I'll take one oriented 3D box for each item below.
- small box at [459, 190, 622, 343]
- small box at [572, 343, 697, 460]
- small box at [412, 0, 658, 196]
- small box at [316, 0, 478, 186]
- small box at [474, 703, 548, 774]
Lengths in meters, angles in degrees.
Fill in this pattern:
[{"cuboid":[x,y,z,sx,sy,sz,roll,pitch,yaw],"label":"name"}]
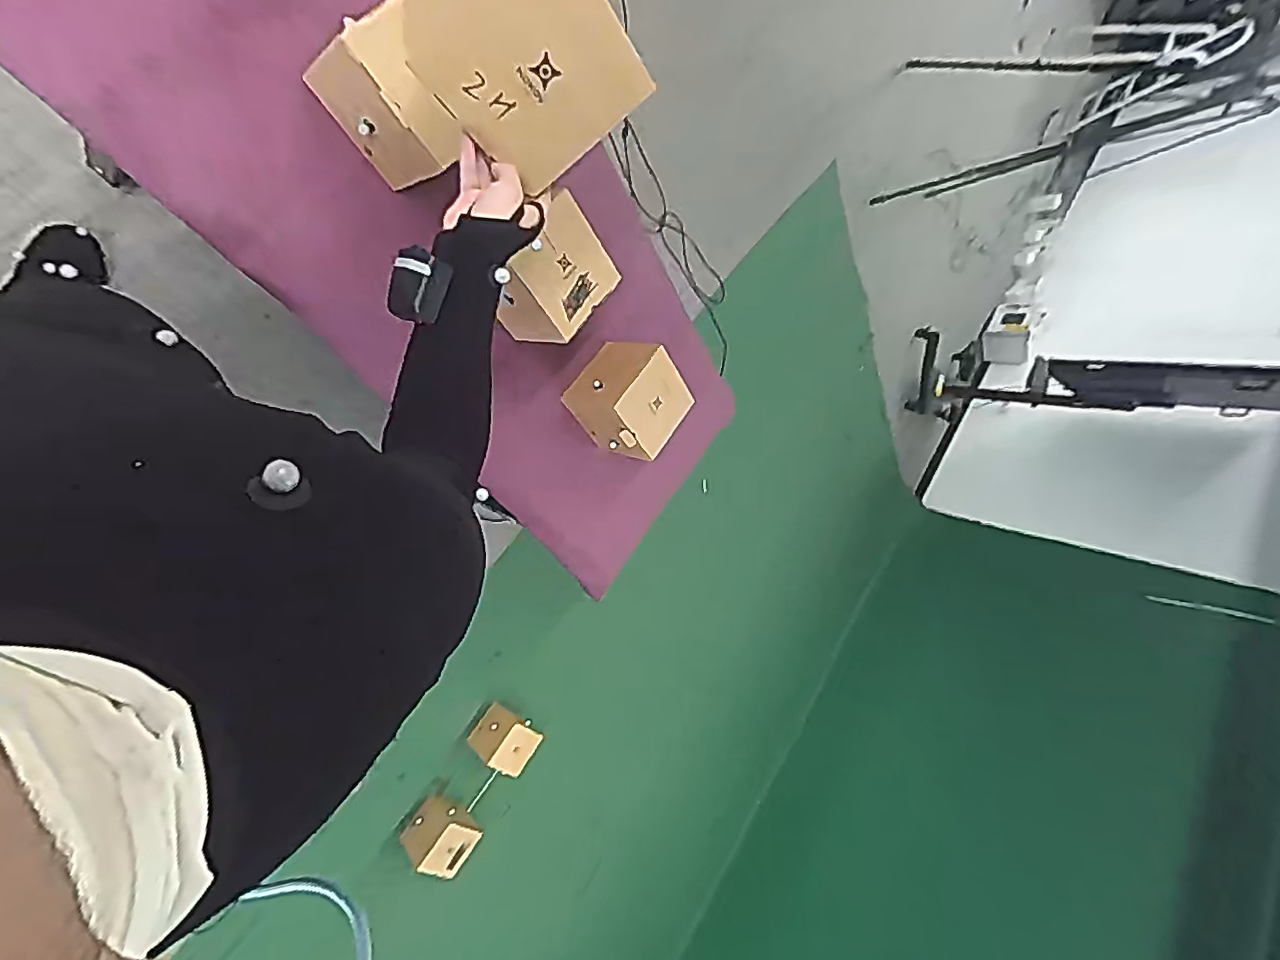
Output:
[{"cuboid":[-0.170,-0.359,0.927,0.168,0.176,0.179,-55,132,-18],"label":"small box"},{"cuboid":[-0.018,-0.169,1.135,0.179,0.176,0.168,-54,133,-19],"label":"small box"},{"cuboid":[-0.112,-0.447,0.551,0.179,0.176,0.168,-30,144,20],"label":"small box"},{"cuboid":[-0.307,-0.535,0.739,0.179,0.176,0.168,-54,133,-17],"label":"small box"},{"cuboid":[-0.493,0.973,2.048,0.168,0.176,0.179,-54,134,-18],"label":"small box"}]
